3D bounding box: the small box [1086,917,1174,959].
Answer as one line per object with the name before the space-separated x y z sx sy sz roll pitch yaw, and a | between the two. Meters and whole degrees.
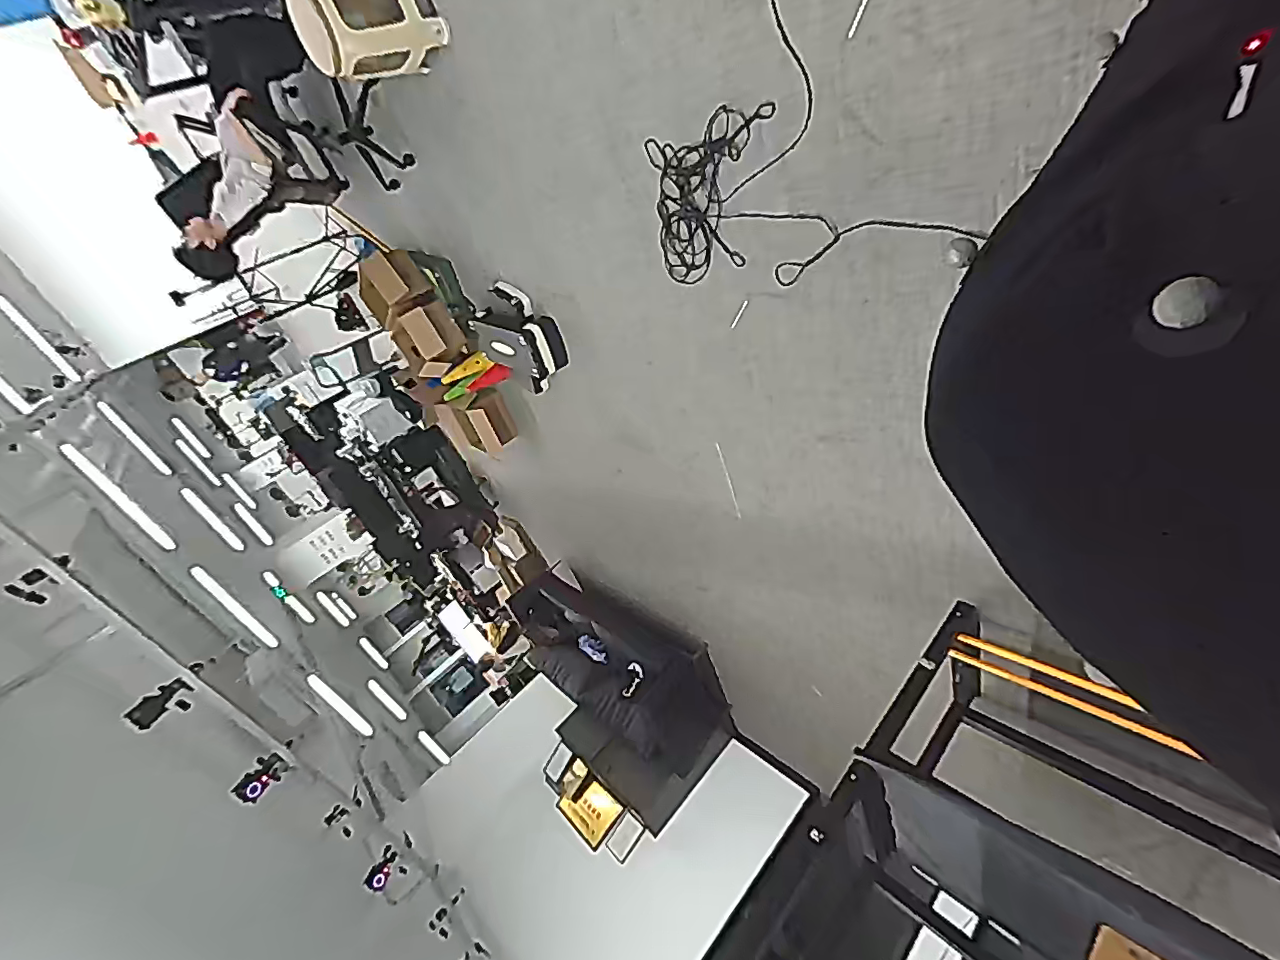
small box | 1.143 1.179 1.251 0.168 0.176 0.179 15 137 48
